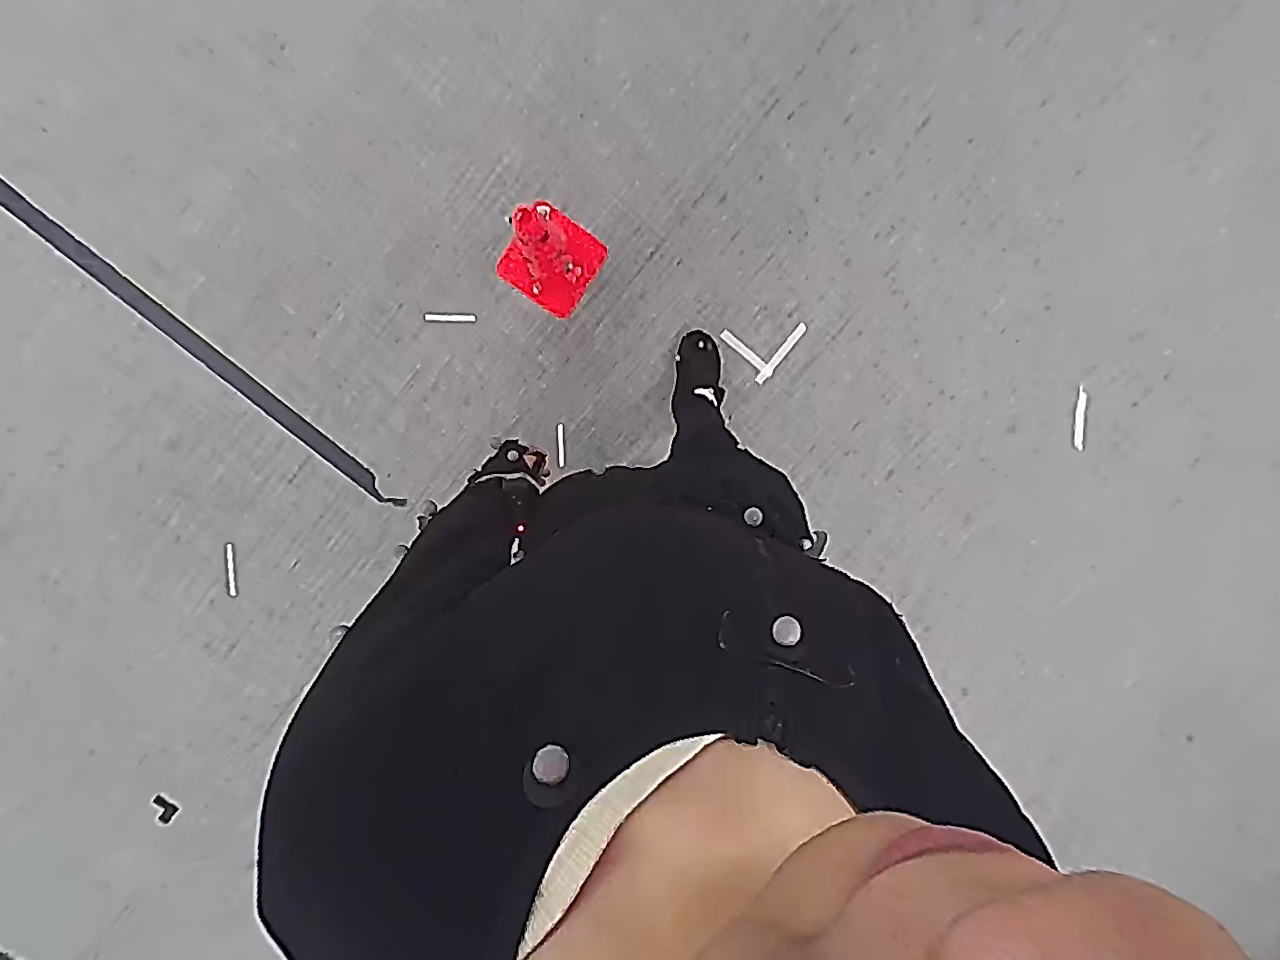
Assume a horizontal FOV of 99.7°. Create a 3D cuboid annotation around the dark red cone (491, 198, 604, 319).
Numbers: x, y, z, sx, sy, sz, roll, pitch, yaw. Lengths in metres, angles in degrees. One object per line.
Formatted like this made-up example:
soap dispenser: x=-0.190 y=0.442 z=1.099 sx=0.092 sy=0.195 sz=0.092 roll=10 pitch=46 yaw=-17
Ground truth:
dark red cone: x=-0.200 y=-0.457 z=1.046 sx=0.202 sy=0.394 sz=0.201 roll=33 pitch=99 yaw=-7
